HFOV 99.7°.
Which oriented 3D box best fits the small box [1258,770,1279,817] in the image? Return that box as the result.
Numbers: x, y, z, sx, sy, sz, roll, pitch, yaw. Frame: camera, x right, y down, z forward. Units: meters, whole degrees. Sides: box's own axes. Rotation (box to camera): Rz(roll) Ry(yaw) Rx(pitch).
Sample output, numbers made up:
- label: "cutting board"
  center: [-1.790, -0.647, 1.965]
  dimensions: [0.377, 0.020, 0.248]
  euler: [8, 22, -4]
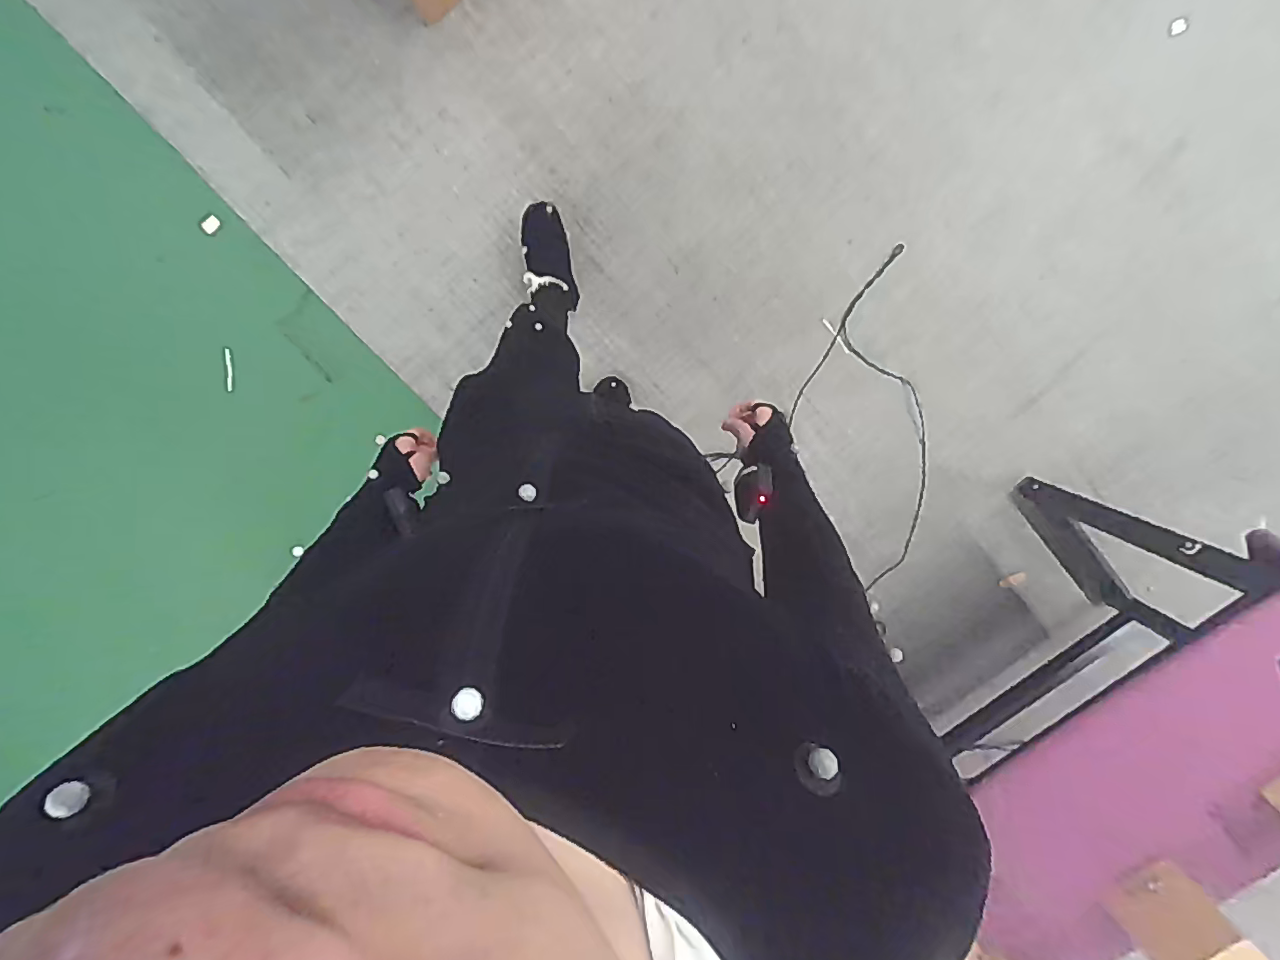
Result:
- label: "small box"
  center: [1.352, 0.638, 1.016]
  dimensions: [0.179, 0.176, 0.168]
  euler: [42, 101, -13]

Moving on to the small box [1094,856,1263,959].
- label: "small box"
  center: [1.087, 0.913, 1.089]
  dimensions: [0.168, 0.176, 0.179]
  euler: [-43, 102, 9]
